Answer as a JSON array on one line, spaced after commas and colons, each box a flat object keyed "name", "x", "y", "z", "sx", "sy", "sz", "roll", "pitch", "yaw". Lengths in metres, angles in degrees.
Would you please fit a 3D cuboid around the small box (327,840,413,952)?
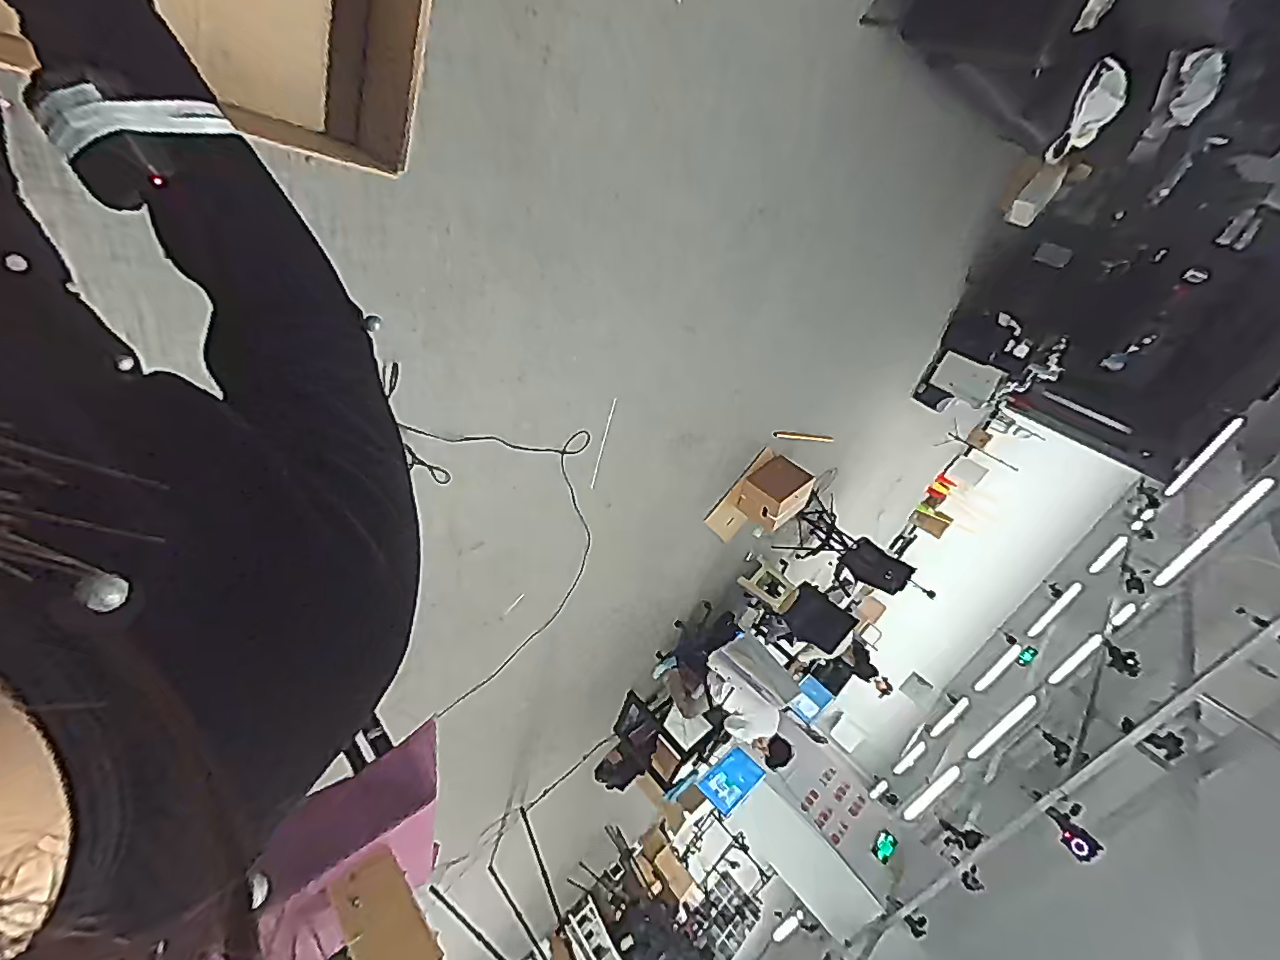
[{"name": "small box", "x": -0.747, "y": 1.148, "z": 1.500, "sx": 0.168, "sy": 0.176, "sz": 0.179, "roll": -21, "pitch": 140, "yaw": -40}]

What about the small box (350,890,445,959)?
[{"name": "small box", "x": -0.635, "y": 1.237, "z": 1.424, "sx": 0.179, "sy": 0.176, "sz": 0.168, "roll": -22, "pitch": 140, "yaw": -38}]
